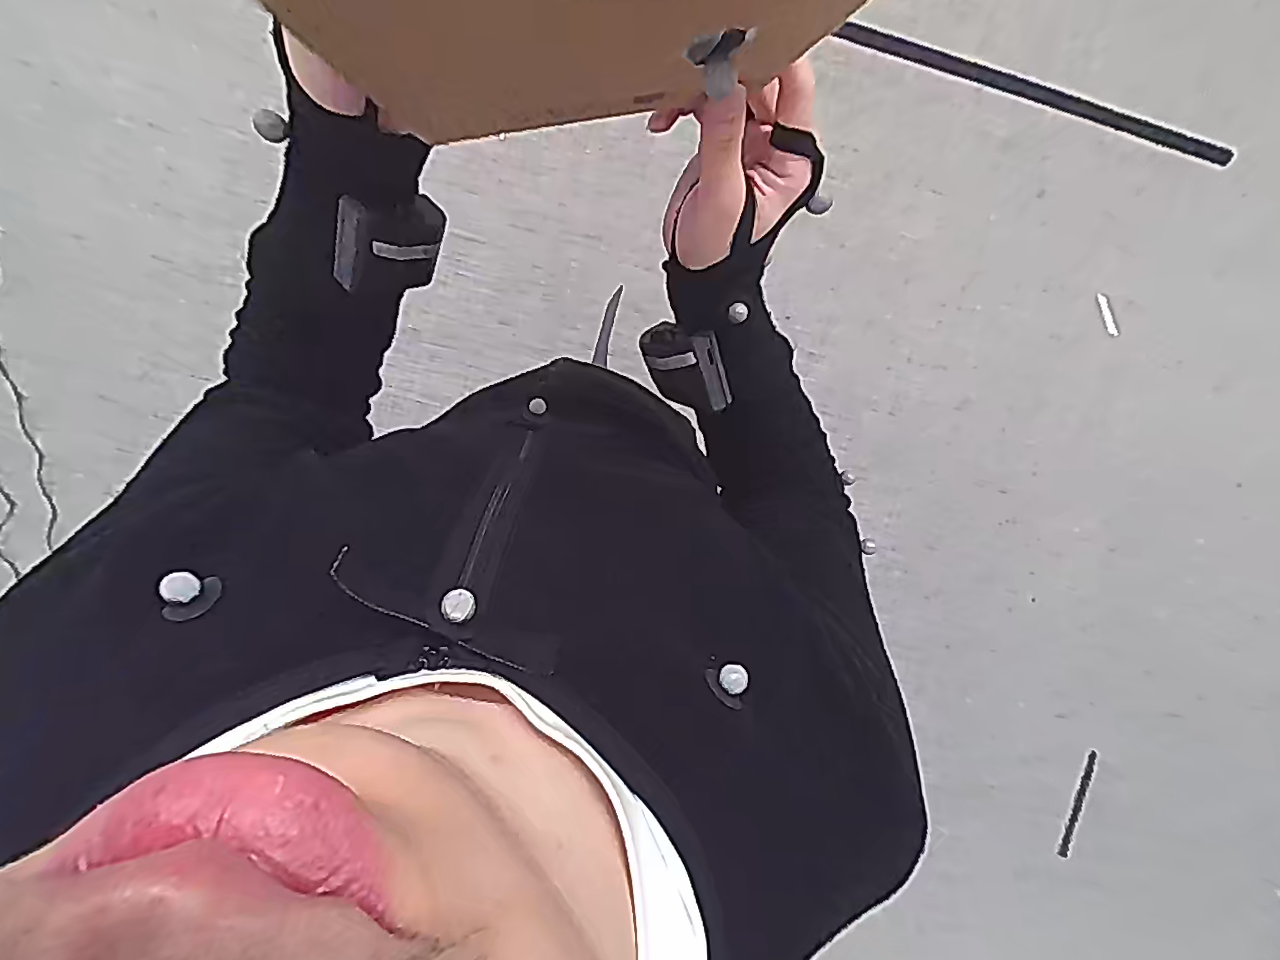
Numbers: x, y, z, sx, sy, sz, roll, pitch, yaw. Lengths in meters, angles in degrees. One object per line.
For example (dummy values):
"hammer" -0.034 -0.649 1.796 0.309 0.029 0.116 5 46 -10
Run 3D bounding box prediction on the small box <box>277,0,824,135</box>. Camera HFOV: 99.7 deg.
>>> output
"small box" -0.026 -0.226 0.165 0.168 0.176 0.179 -13 113 -3
